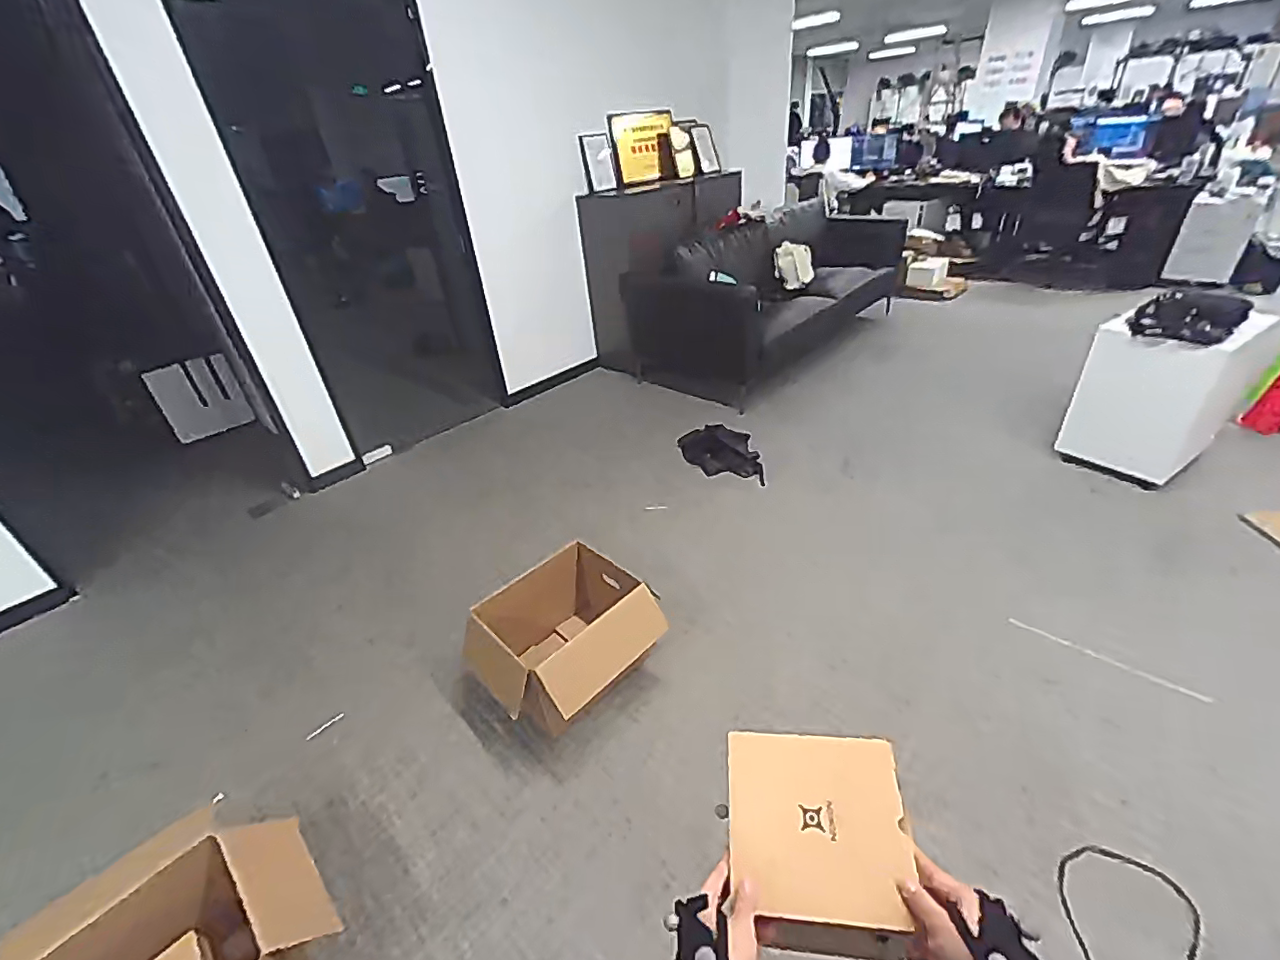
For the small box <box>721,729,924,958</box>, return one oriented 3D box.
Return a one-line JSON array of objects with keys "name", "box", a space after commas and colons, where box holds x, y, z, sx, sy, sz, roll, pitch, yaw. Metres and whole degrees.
[{"name": "small box", "box": [0.180, 0.394, 0.588, 0.179, 0.176, 0.168, -1, 42, 9]}]
